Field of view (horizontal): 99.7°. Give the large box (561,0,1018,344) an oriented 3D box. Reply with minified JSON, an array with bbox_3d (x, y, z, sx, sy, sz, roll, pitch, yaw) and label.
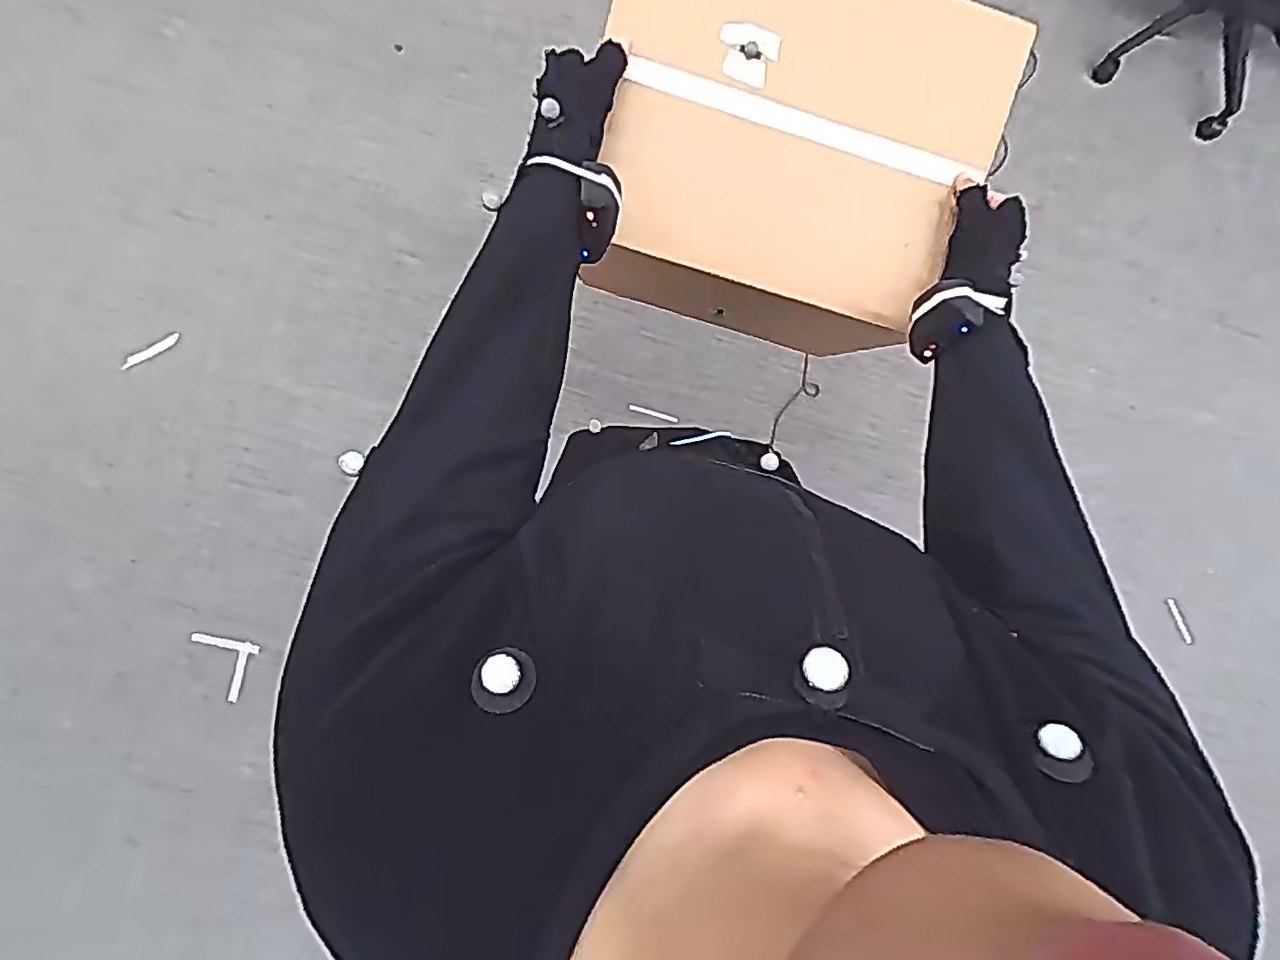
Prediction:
[{"bbox_3d":[0.145,-0.383,0.693,0.408,0.320,0.320,15,98,-4],"label":"large box"}]
